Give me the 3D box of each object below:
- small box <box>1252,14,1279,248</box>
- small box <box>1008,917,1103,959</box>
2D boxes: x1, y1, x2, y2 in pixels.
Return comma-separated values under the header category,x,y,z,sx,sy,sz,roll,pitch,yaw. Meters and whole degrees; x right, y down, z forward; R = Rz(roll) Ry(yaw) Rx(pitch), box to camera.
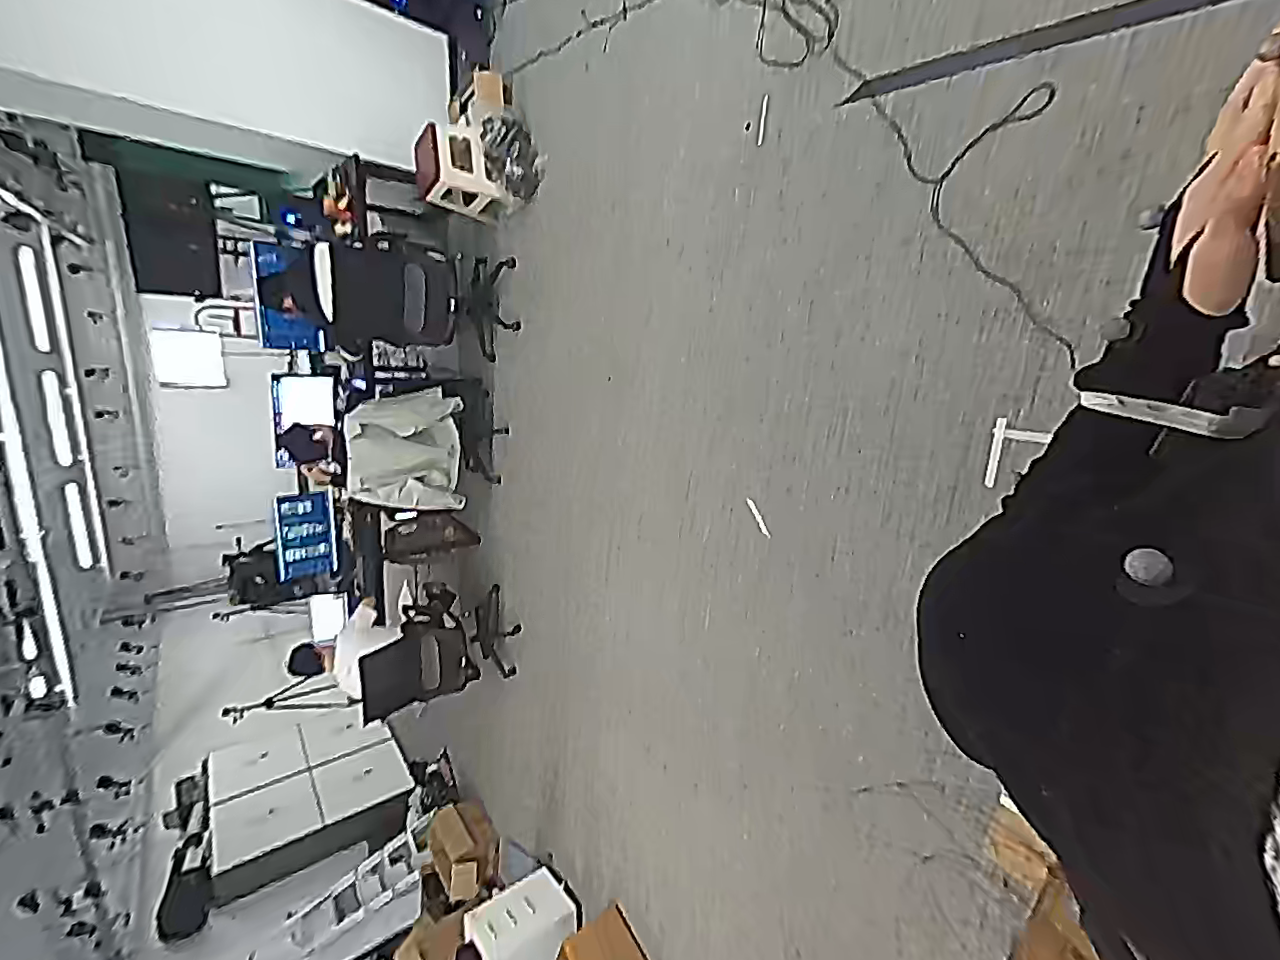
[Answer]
category,x,y,z,sx,sy,sz,roll,pitch,yaw
small box,0.392,-0.207,0.220,0.168,0.176,0.179,11,93,49
small box,0.580,0.764,0.731,0.168,0.176,0.179,22,111,48
